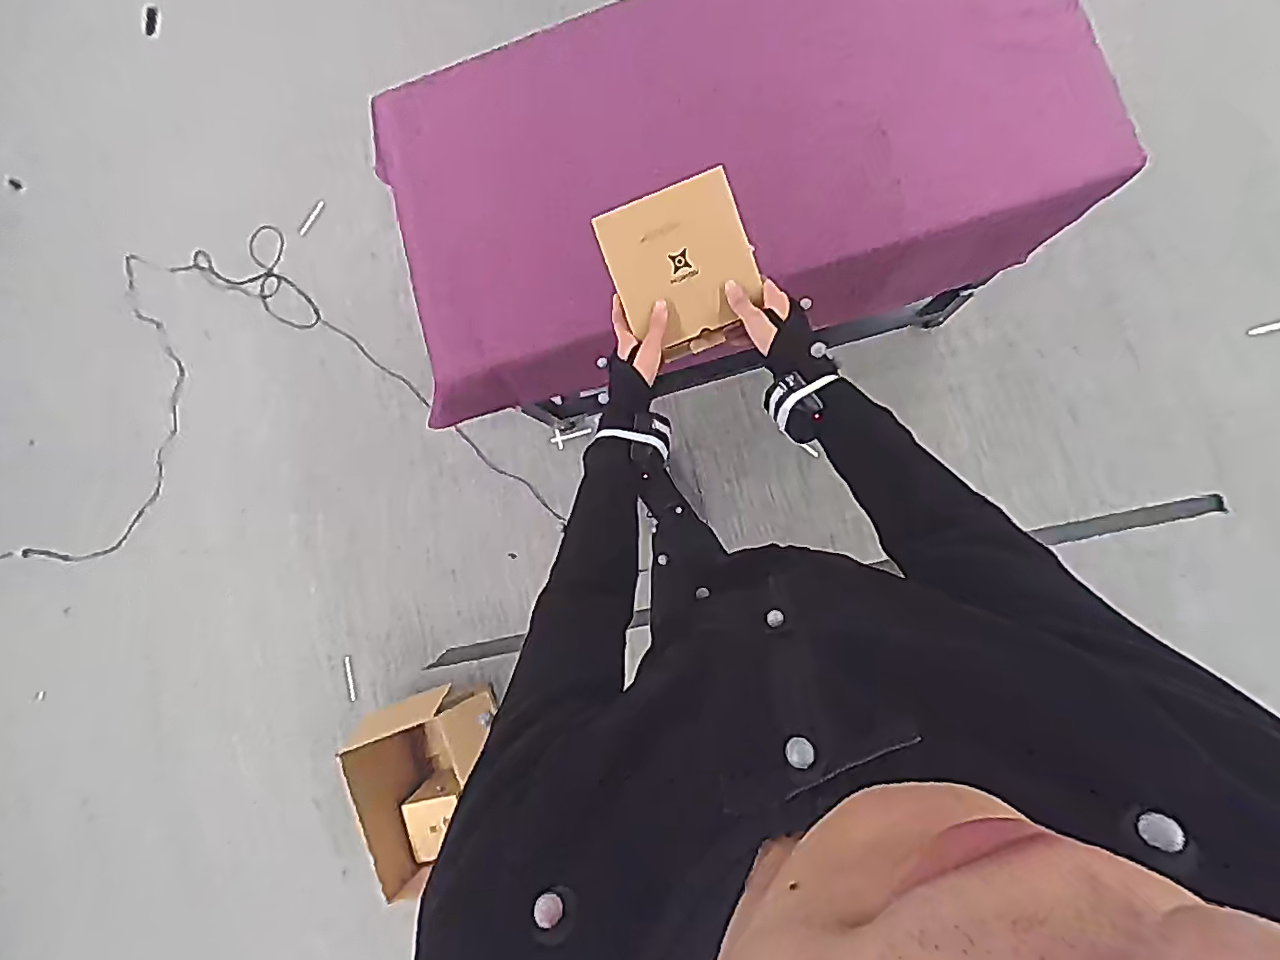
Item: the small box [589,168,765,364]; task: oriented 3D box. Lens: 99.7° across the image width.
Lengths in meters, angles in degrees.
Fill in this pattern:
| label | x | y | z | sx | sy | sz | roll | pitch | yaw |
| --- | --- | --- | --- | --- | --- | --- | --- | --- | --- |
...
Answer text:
| label | x | y | z | sx | sy | sz | roll | pitch | yaw |
| --- | --- | --- | --- | --- | --- | --- | --- | --- | --- |
| small box | 0.048 | -0.261 | 0.711 | 0.168 | 0.176 | 0.179 | -20 | 96 | 4 |
